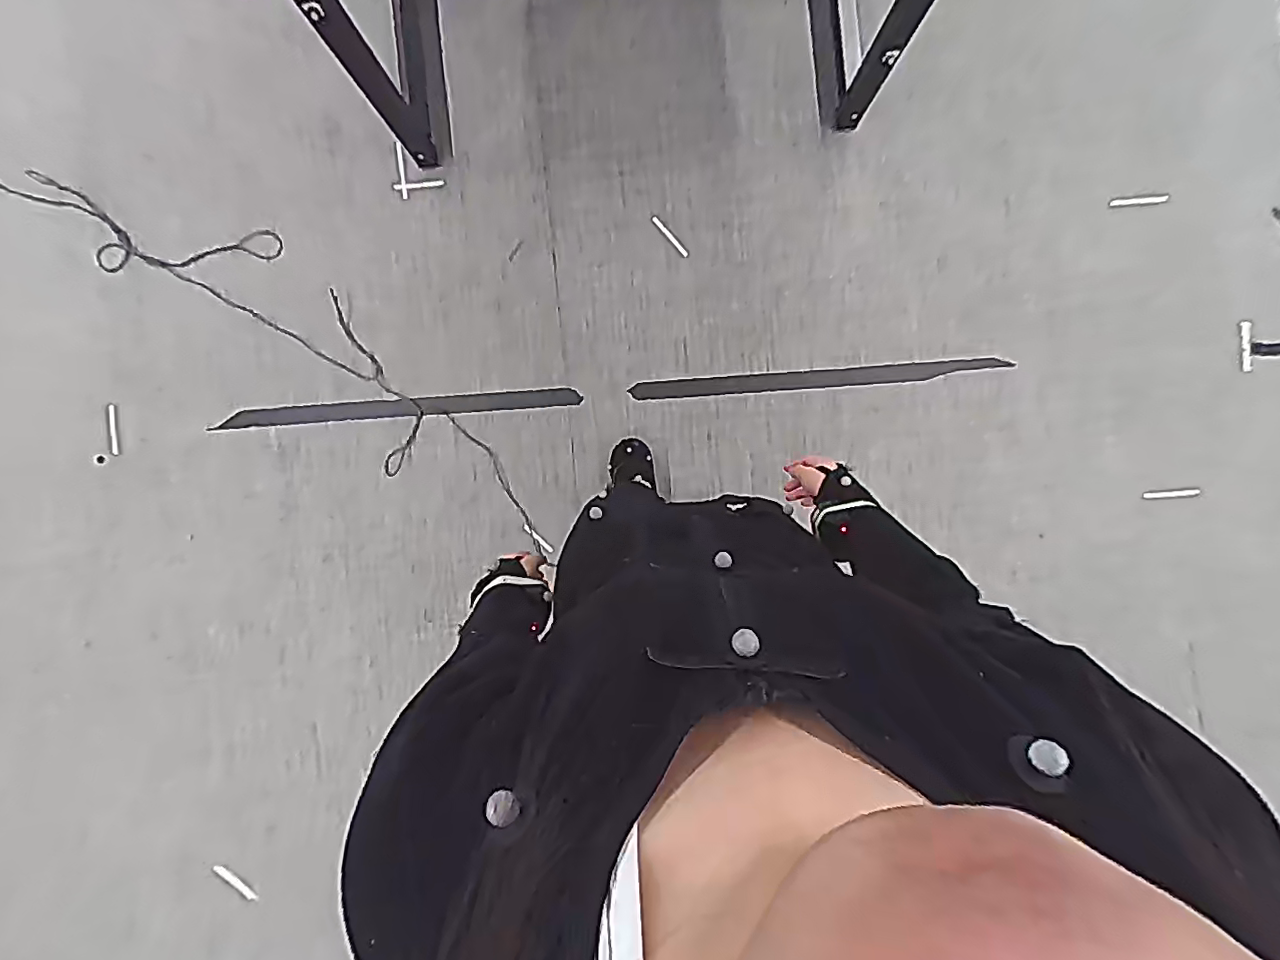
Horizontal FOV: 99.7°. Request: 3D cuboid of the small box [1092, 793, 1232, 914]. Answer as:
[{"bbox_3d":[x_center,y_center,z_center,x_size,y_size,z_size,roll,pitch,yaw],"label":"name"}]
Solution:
[{"bbox_3d":[1.378,0.979,1.443,0.168,0.176,0.179,-42,92,2],"label":"small box"}]
